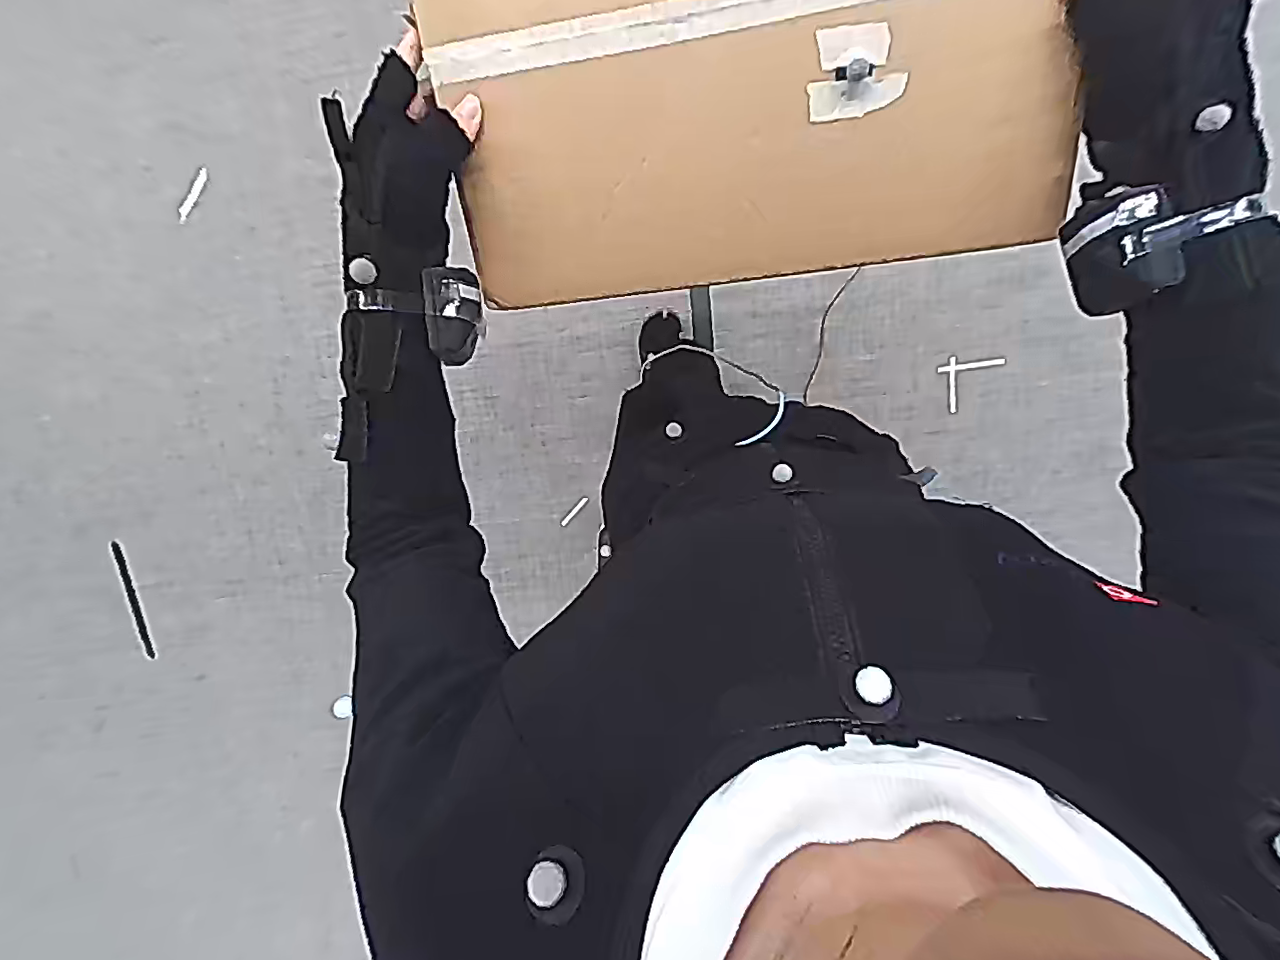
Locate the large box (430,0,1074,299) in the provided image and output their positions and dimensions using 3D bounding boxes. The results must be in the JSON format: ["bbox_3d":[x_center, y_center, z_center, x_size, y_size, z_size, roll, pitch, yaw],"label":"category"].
[{"bbox_3d":[0.074,-0.360,0.477,0.408,0.320,0.320,-5,114,8],"label":"large box"}]
